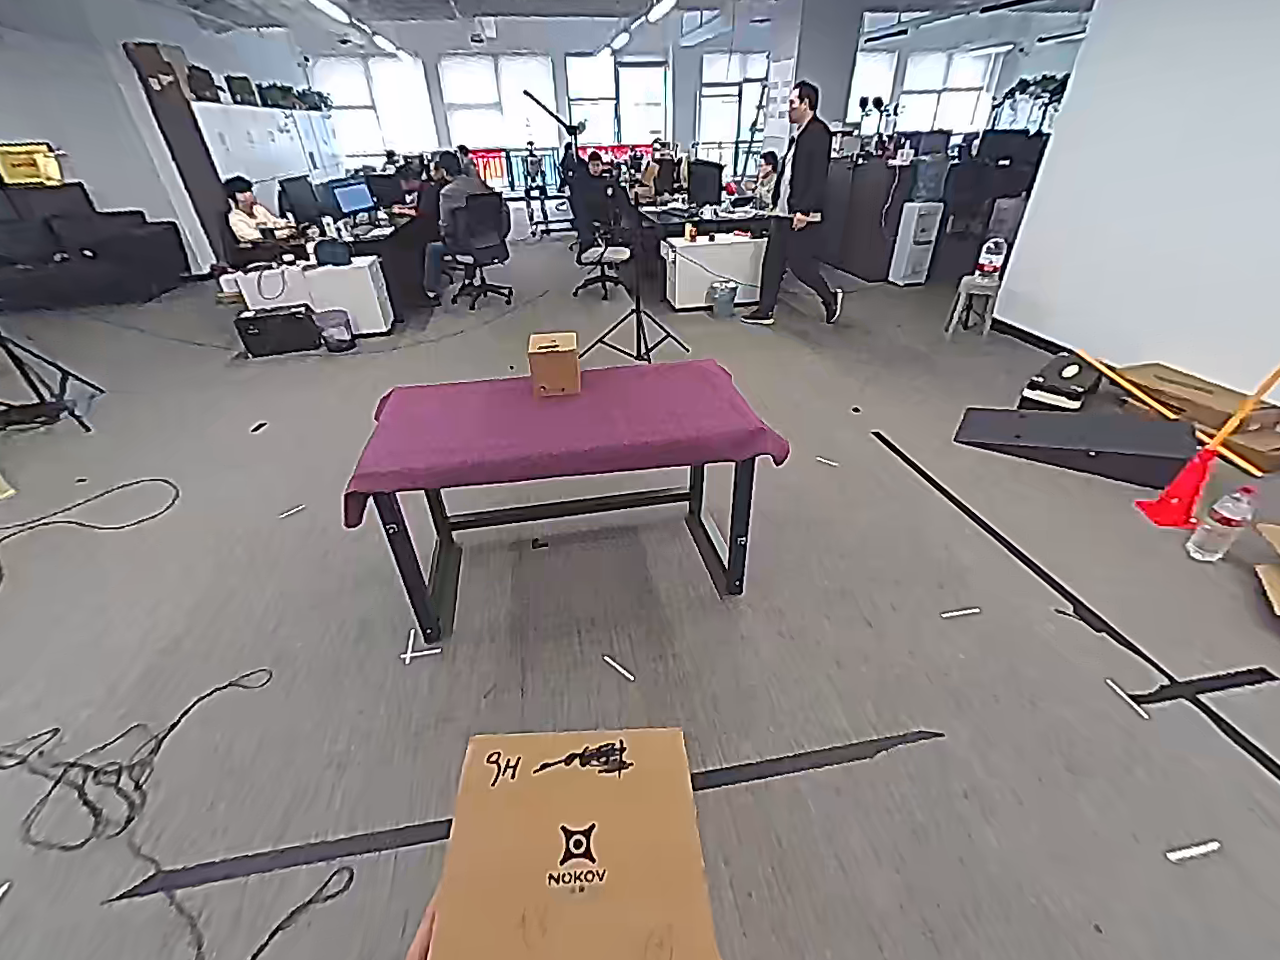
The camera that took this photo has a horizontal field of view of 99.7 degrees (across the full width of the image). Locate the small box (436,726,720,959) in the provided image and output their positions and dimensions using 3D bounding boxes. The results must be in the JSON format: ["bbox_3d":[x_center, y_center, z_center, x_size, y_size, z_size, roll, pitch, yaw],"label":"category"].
[{"bbox_3d":[-0.042,0.310,0.395,0.168,0.176,0.179,0,36,-6],"label":"small box"}]

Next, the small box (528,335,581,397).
[{"bbox_3d":[-0.303,-0.407,1.945,0.168,0.176,0.179,-5,34,-5],"label":"small box"}]
